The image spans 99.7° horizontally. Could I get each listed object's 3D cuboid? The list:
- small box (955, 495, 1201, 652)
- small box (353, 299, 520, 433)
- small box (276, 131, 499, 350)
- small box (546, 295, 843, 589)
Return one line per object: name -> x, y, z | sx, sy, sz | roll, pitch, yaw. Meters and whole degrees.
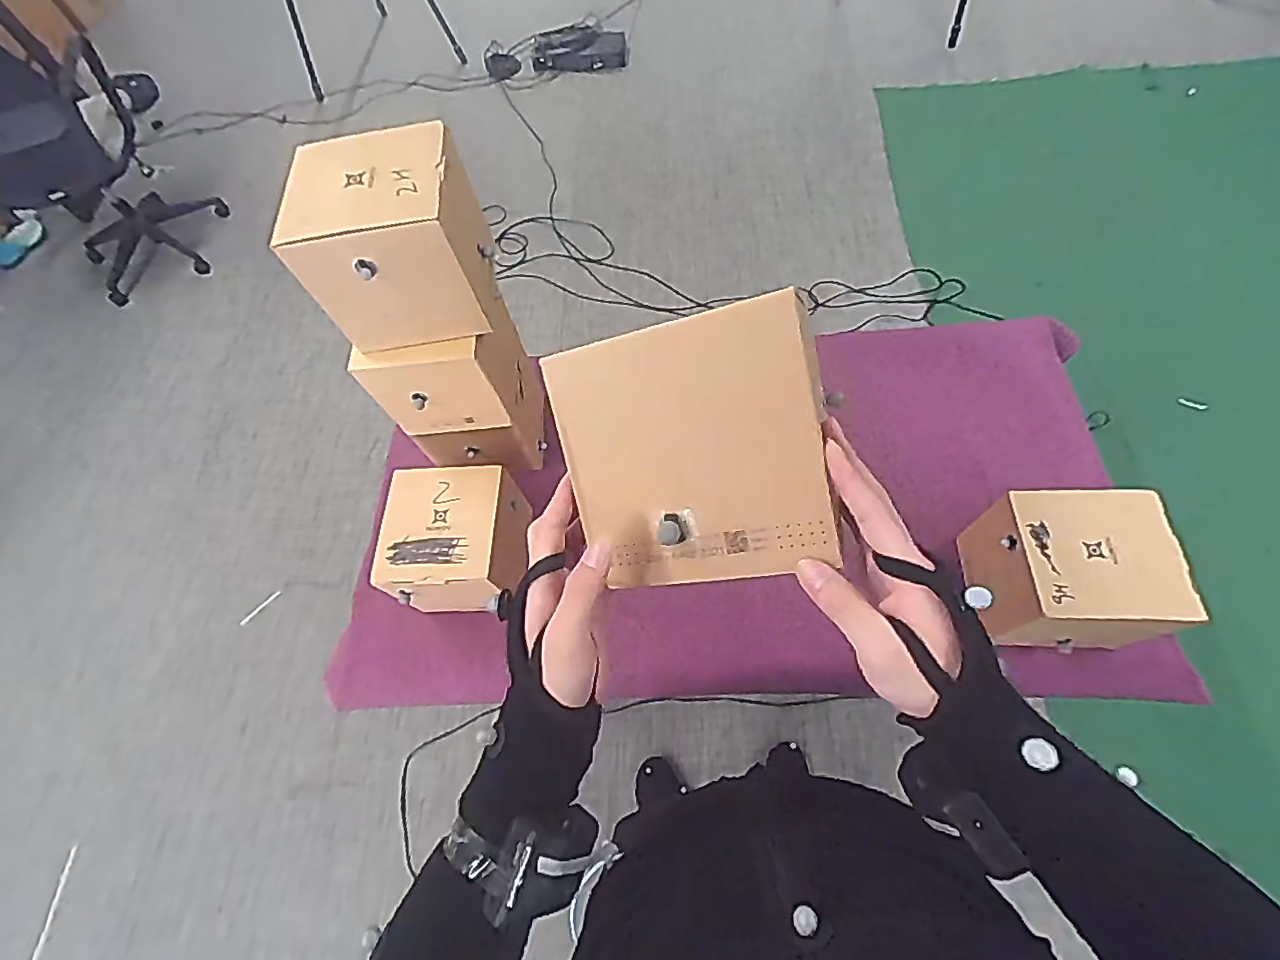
small box -> 0.562, 0.130, 0.725 | 0.179, 0.176, 0.168 | 1, 62, 6
small box -> -0.279, -0.179, 0.785 | 0.168, 0.176, 0.179 | -5, 63, 3
small box -> -0.283, -0.276, 0.649 | 0.179, 0.176, 0.168 | -8, 63, 1
small box -> 0.055, -0.028, 0.416 | 0.168, 0.179, 0.176 | -10, 98, 22
